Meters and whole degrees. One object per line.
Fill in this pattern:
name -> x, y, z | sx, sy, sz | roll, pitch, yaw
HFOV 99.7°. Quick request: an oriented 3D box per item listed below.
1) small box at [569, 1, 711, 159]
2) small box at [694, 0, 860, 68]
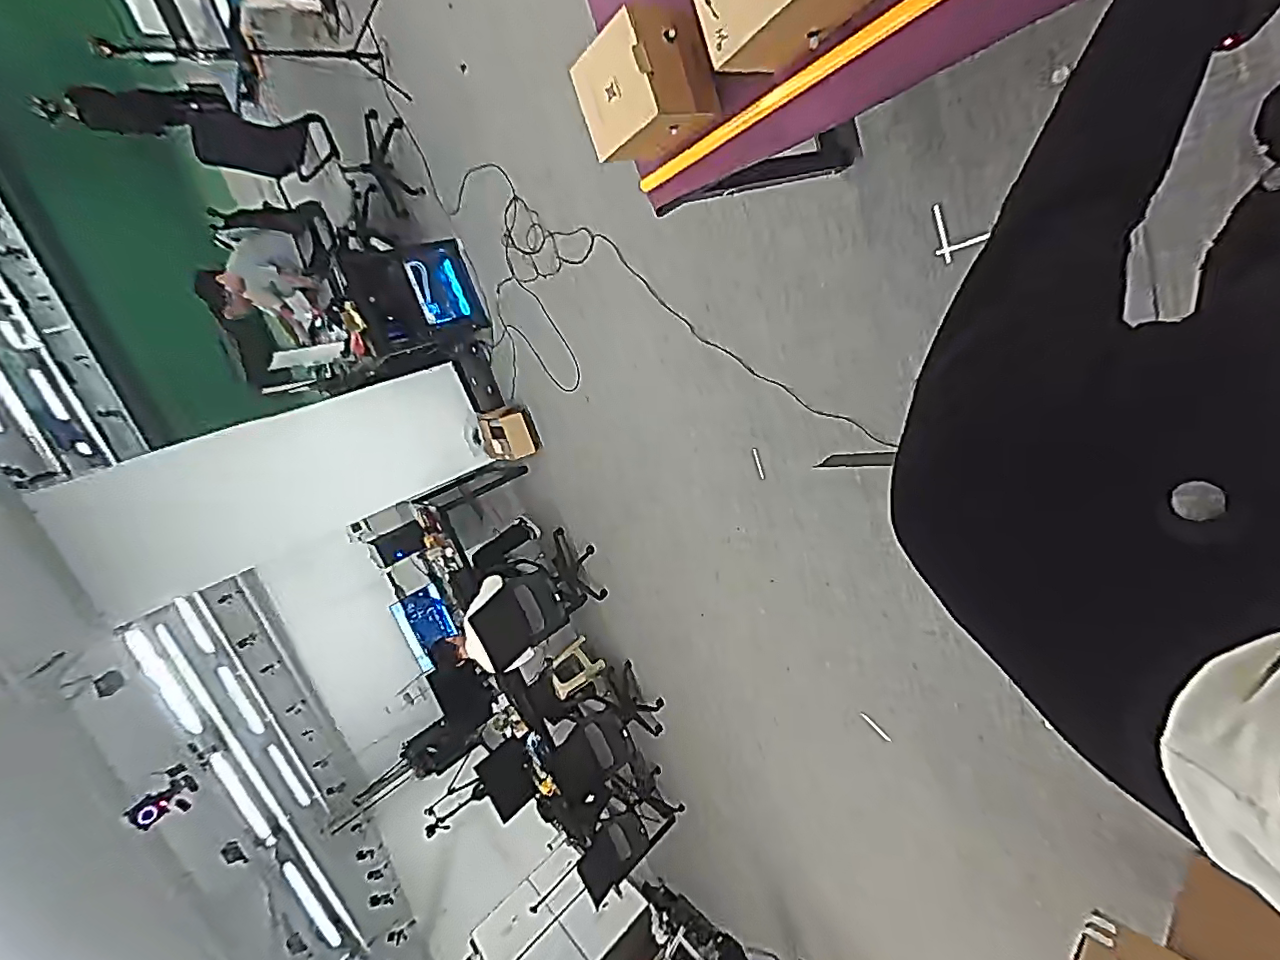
small box -> 0.008, -0.710, 0.976 | 0.179, 0.176, 0.168 | -2, 112, 51
small box -> 0.188, -0.707, 0.742 | 0.179, 0.176, 0.168 | -2, 113, 53
